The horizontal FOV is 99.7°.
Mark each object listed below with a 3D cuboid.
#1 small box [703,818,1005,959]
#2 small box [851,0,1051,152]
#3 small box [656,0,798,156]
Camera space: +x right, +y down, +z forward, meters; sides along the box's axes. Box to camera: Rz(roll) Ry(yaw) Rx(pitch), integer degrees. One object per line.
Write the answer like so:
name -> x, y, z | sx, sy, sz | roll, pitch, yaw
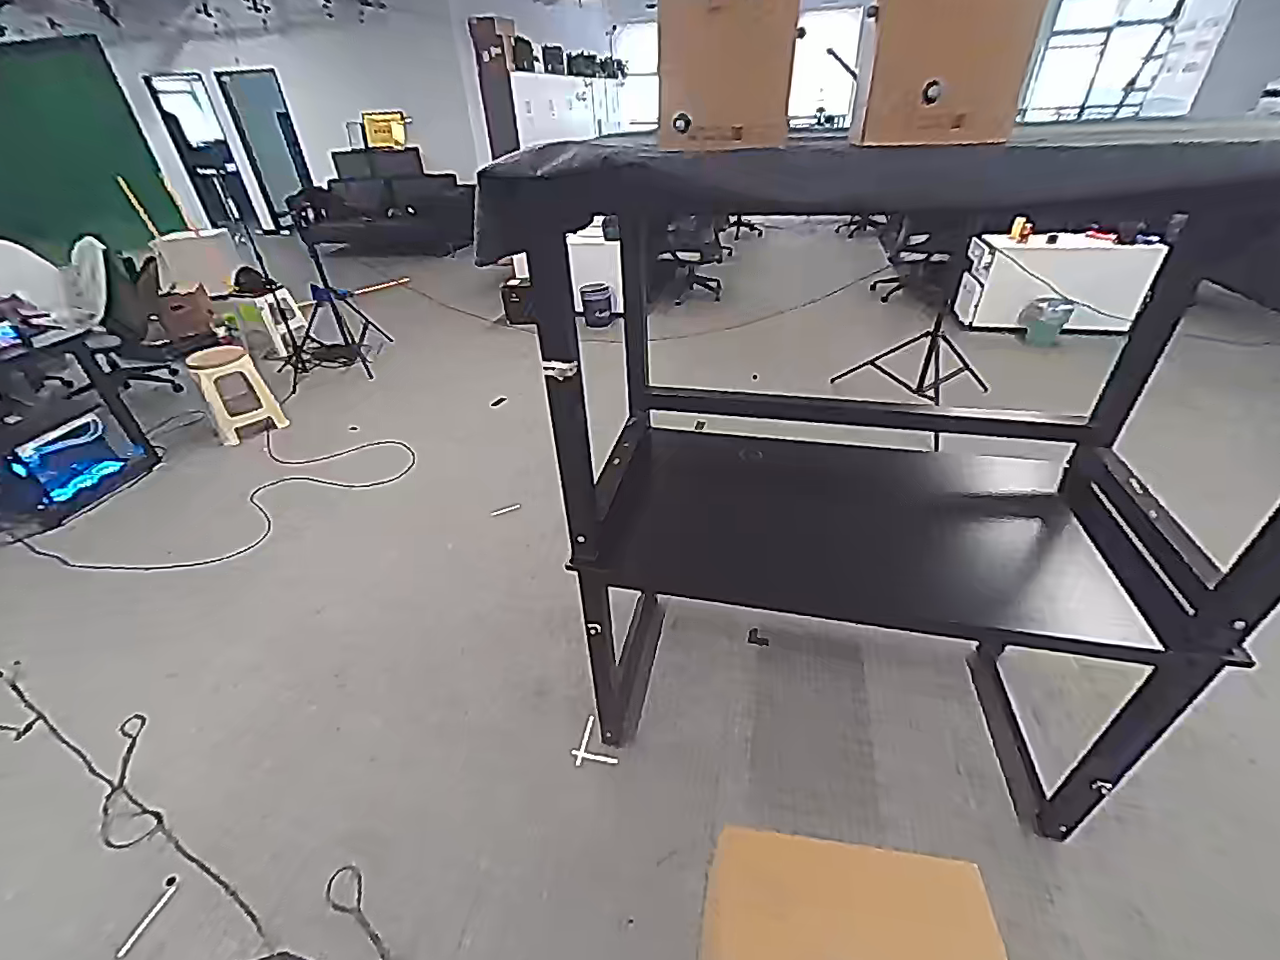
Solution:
small box -> 0.124, 0.355, 0.341 | 0.168, 0.176, 0.179 | 5, 37, 7
small box -> 0.368, -0.511, 0.673 | 0.168, 0.176, 0.179 | 5, 34, 12
small box -> 0.117, -0.534, 0.721 | 0.168, 0.176, 0.179 | 5, 33, 9
